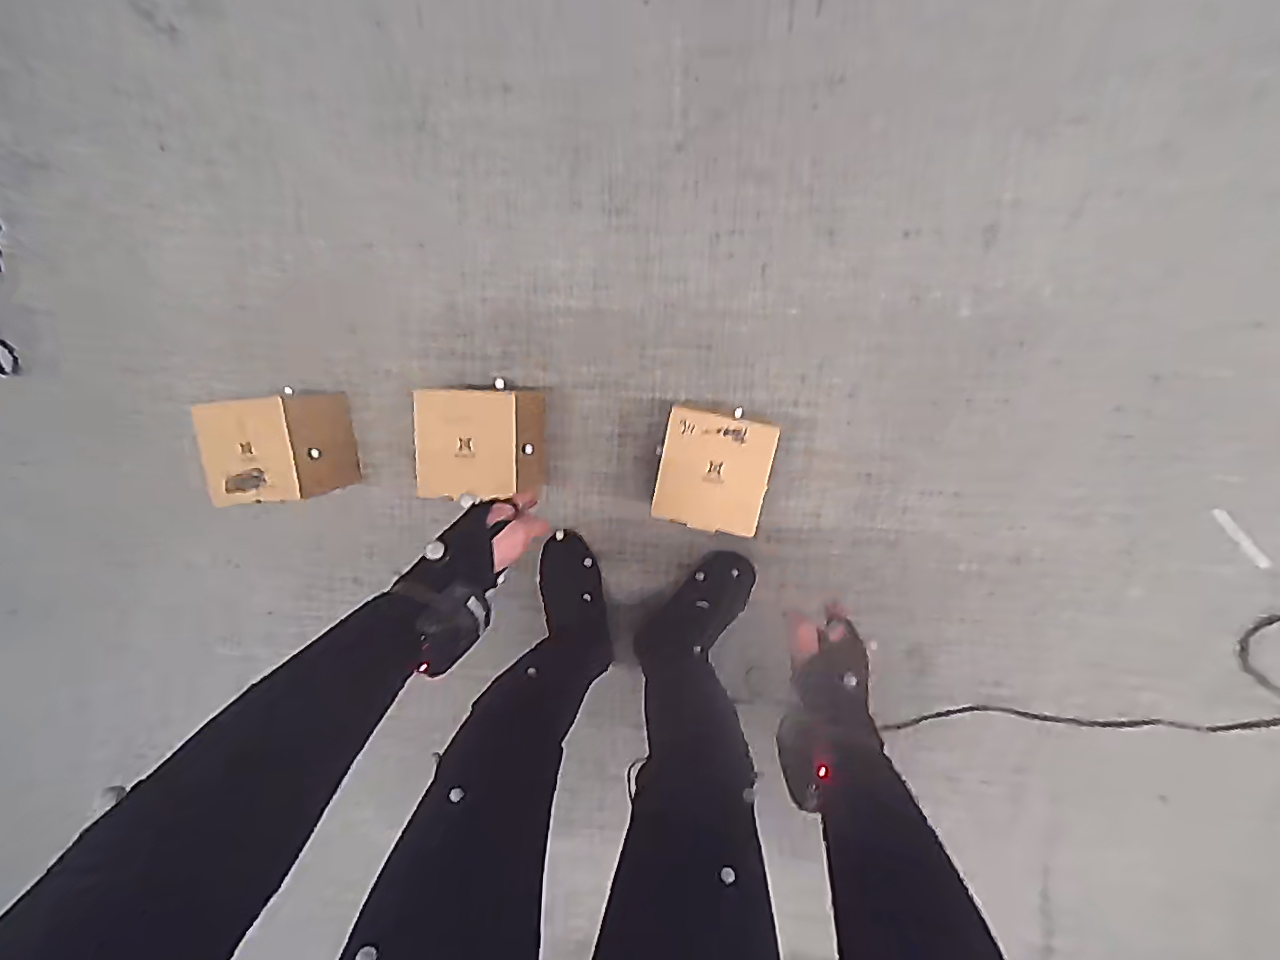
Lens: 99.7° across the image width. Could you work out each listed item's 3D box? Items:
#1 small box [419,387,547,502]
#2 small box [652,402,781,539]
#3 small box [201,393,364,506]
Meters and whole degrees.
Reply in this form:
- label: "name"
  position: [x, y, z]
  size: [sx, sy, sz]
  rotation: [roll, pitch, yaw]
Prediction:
- label: "small box"
  position: [-0.261, -0.068, 0.935]
  size: [0.168, 0.176, 0.179]
  rotation: [2, 100, 5]
- label: "small box"
  position: [0.125, -0.025, 0.897]
  size: [0.168, 0.176, 0.179]
  rotation: [12, 103, 5]
- label: "small box"
  position: [-0.630, -0.060, 0.976]
  size: [0.168, 0.176, 0.179]
  rotation: [-4, 100, 7]
